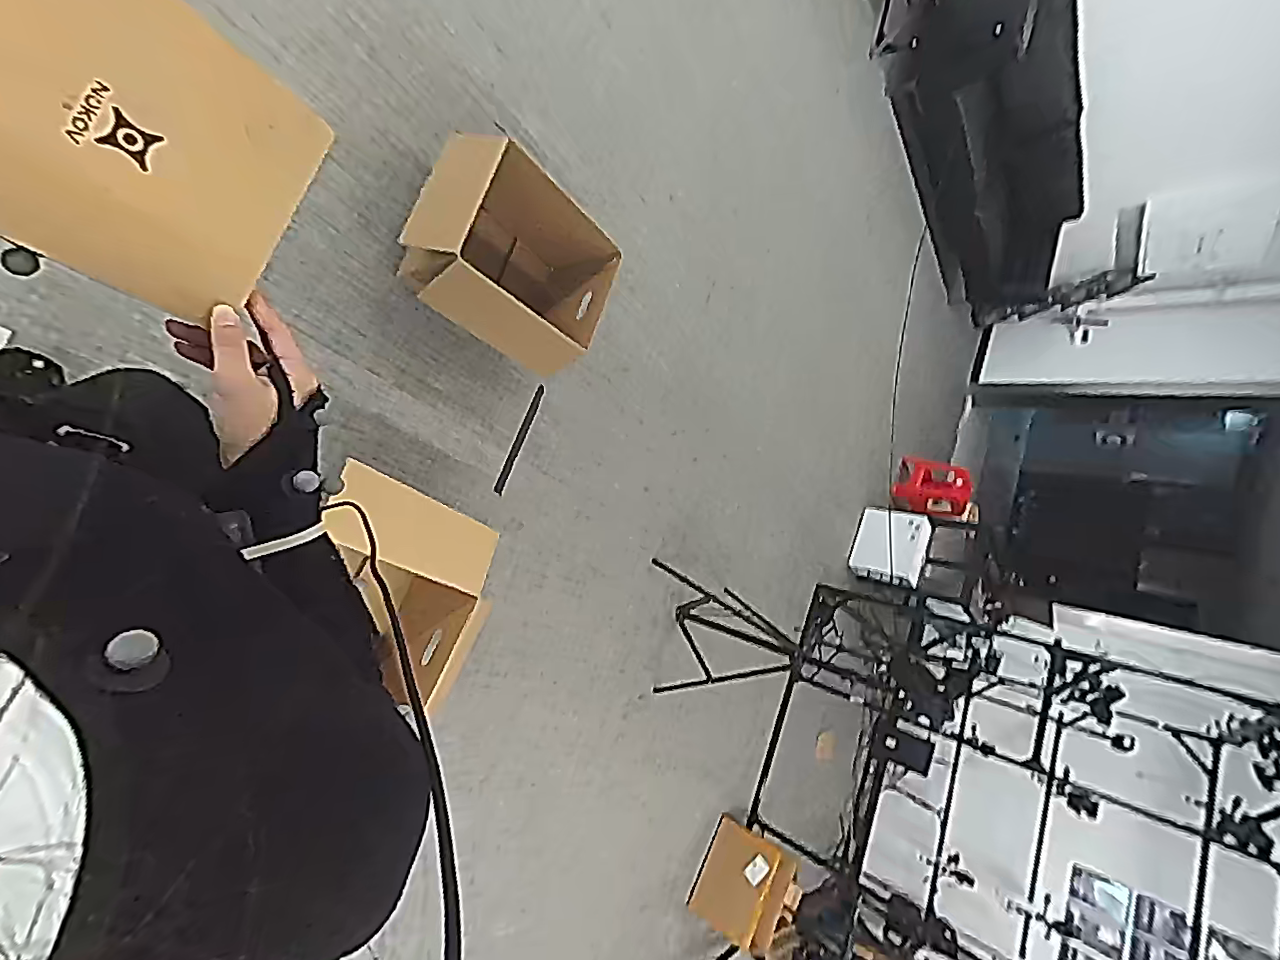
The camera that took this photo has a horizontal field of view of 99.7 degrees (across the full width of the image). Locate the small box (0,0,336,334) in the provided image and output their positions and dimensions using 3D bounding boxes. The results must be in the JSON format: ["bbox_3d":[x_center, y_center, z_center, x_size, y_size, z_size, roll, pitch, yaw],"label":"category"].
[{"bbox_3d":[-0.348,-0.222,0.352,0.179,0.176,0.168,29,86,-51],"label":"small box"}]
